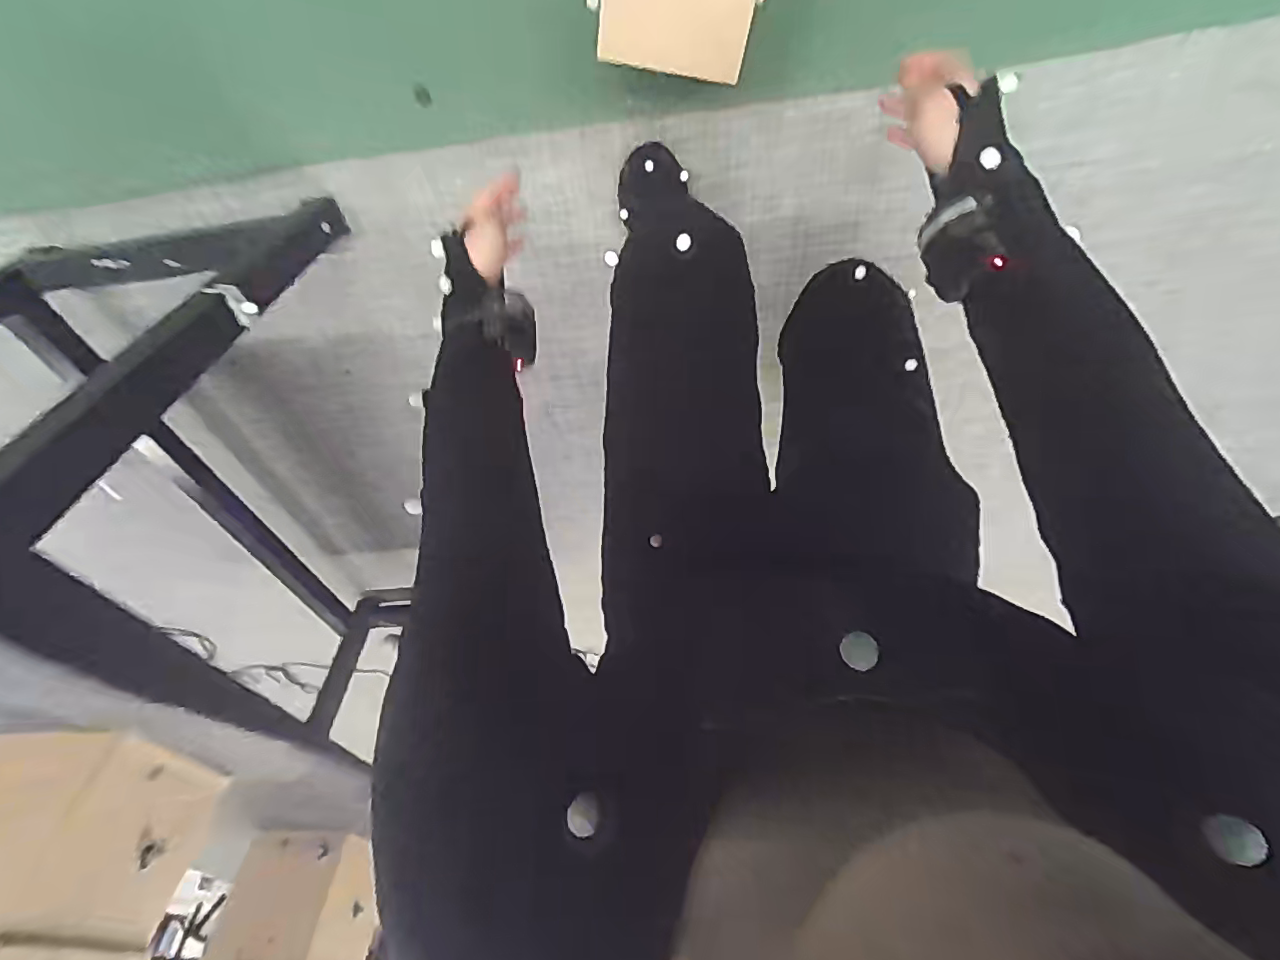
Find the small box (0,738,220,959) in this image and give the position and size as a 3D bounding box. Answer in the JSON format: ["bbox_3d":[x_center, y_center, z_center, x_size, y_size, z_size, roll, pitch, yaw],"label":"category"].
[{"bbox_3d":[-0.589,0.379,0.559,0.179,0.176,0.168,-4,136,7],"label":"small box"}]

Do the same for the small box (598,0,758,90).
[{"bbox_3d":[0.046,-0.579,0.615,0.168,0.176,0.179,6,135,-6],"label":"small box"}]

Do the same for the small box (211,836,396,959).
[{"bbox_3d":[-0.529,0.689,0.874,0.168,0.176,0.179,-4,136,6],"label":"small box"}]
